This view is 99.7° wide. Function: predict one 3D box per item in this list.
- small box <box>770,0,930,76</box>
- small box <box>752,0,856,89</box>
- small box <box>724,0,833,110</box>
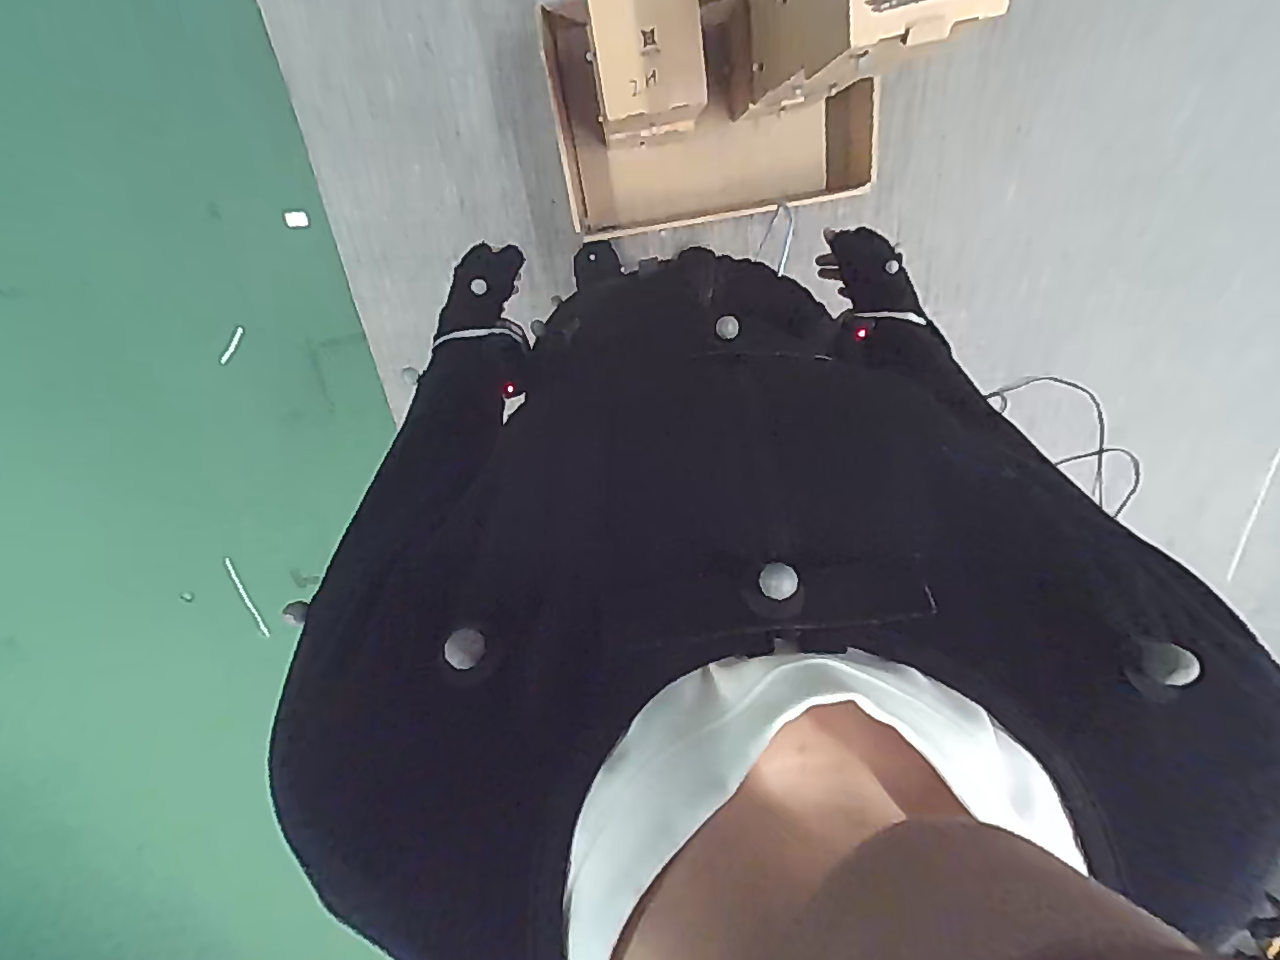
[{"bbox_3d":[0.278,-0.673,0.733,0.168,0.176,0.179,-8,117,2],"label":"small box"},{"bbox_3d":[0.276,-0.746,0.862,0.168,0.176,0.179,-8,117,3],"label":"small box"},{"bbox_3d":[0.259,-0.825,1.024,0.168,0.176,0.179,-11,116,6],"label":"small box"}]
